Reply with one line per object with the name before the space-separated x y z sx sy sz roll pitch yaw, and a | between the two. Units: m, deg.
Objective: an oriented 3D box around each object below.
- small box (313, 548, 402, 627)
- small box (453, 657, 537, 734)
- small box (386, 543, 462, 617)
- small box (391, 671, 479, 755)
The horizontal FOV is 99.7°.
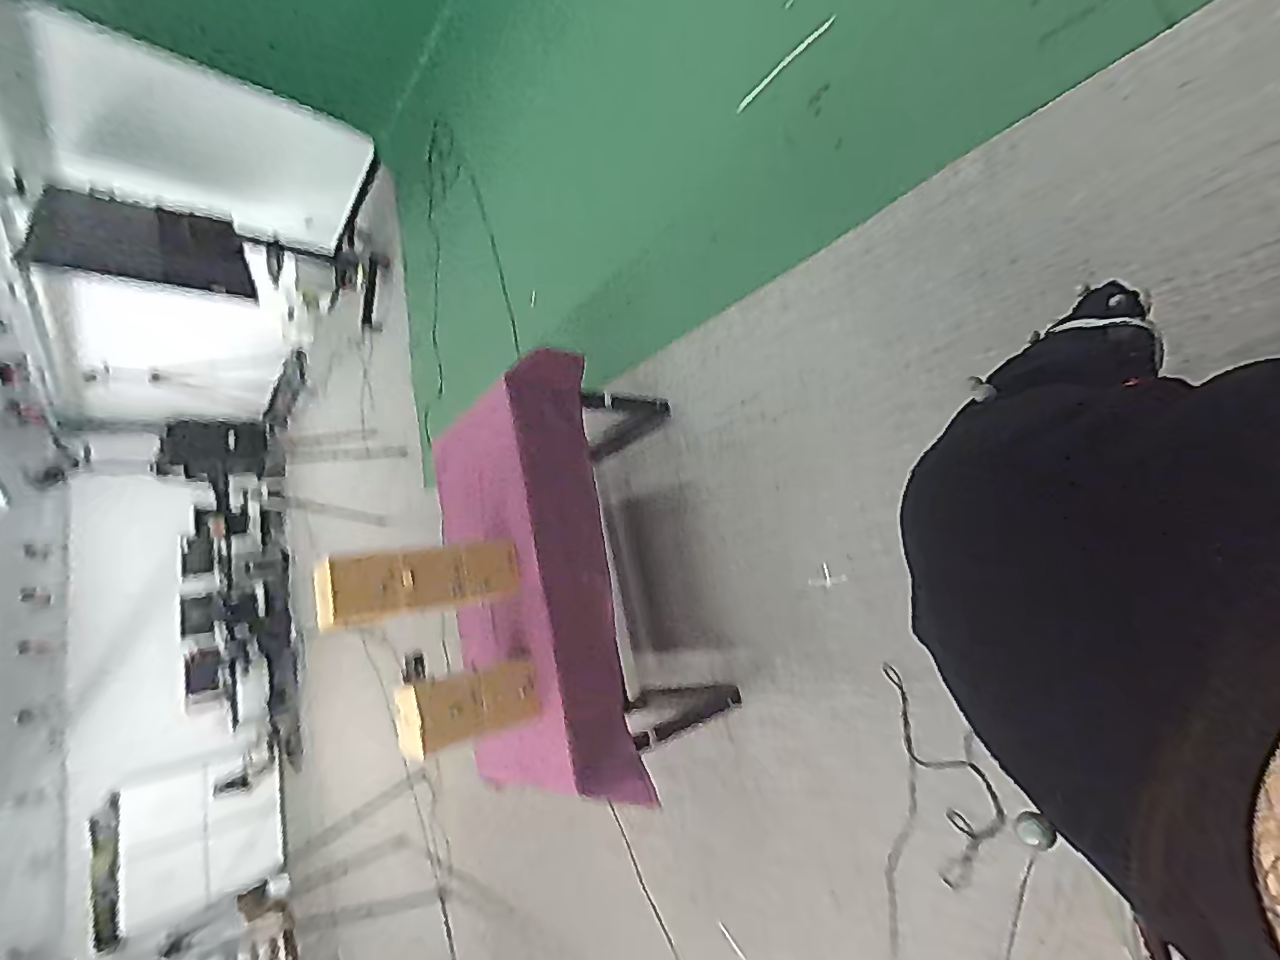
small box | -0.735 0.278 1.407 0.179 0.176 0.168 -26 71 44
small box | -0.413 0.608 1.538 0.179 0.176 0.168 -23 73 45
small box | -0.608 0.278 1.509 0.179 0.176 0.168 -26 71 46
small box | -0.537 0.609 1.430 0.179 0.176 0.168 -23 72 45
